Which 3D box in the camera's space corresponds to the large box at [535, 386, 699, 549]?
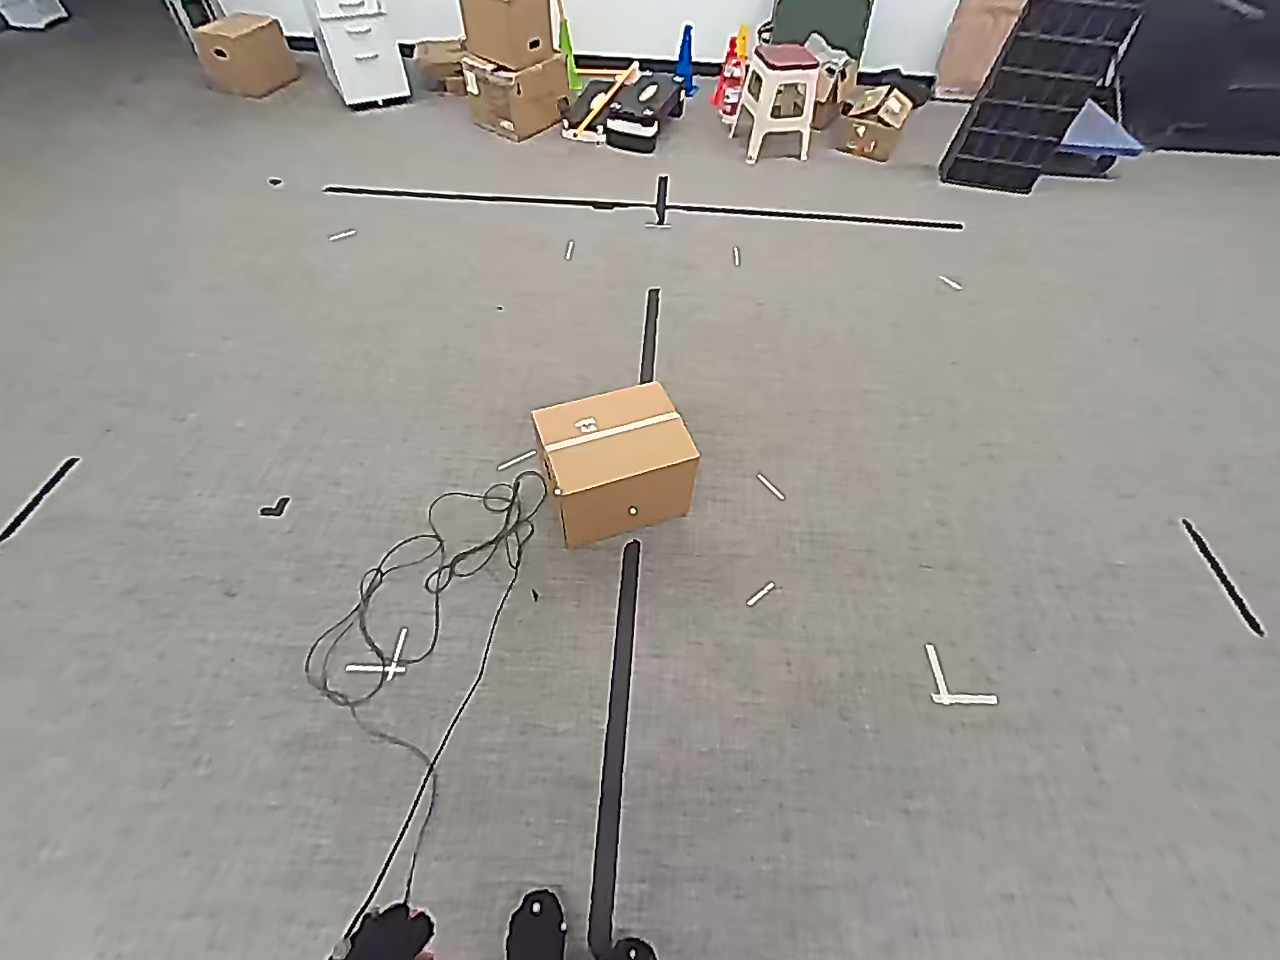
[{"bbox_3d":[-0.075,-0.036,1.666,0.408,0.320,0.320,-16,57,-13],"label":"large box"}]
